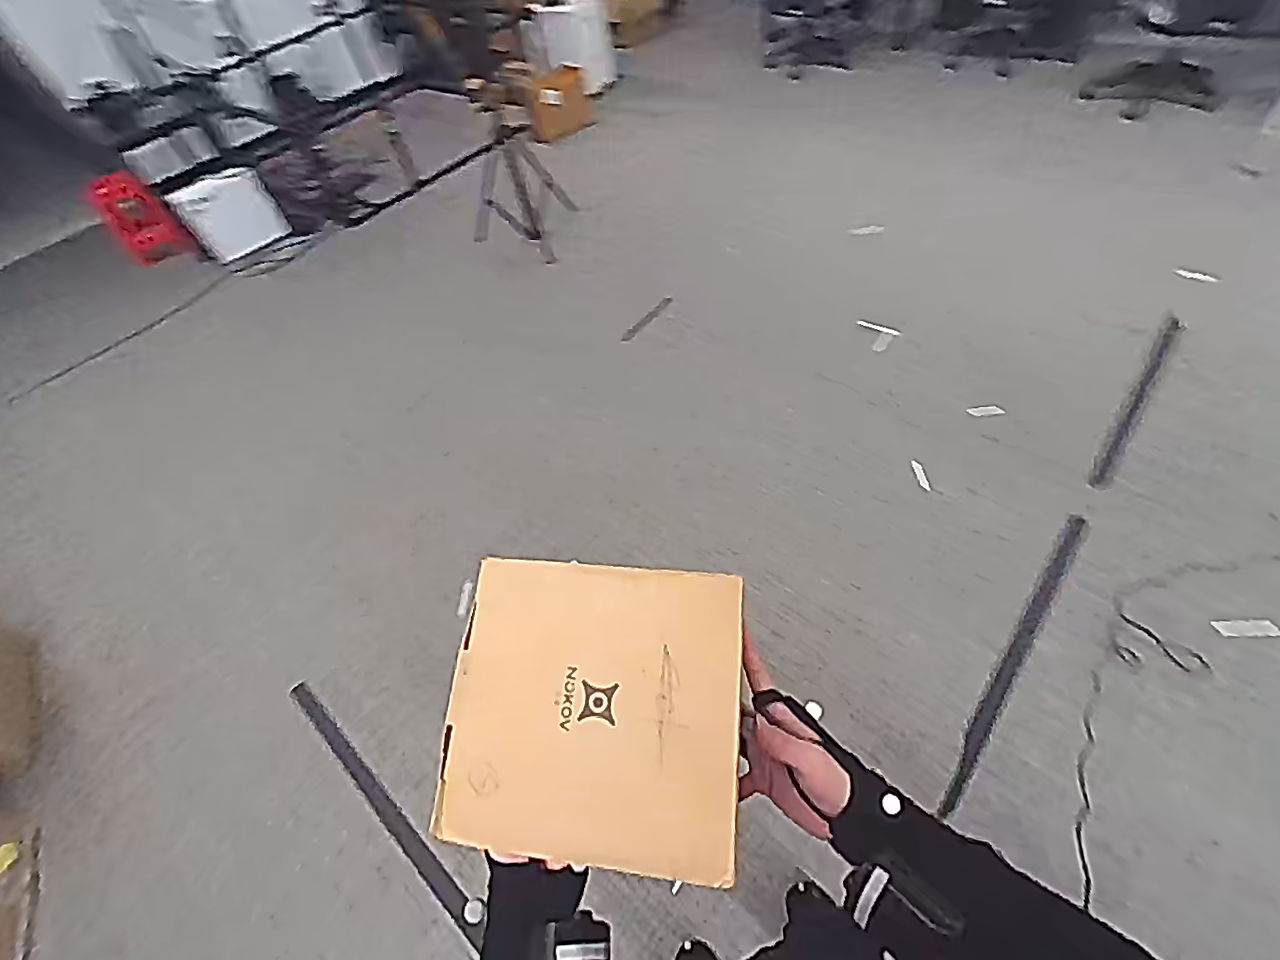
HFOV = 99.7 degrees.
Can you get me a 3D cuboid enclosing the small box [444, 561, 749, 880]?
[{"bbox_3d":[-0.013,0.164,0.408,0.179,0.176,0.168,3,71,9],"label":"small box"}]
